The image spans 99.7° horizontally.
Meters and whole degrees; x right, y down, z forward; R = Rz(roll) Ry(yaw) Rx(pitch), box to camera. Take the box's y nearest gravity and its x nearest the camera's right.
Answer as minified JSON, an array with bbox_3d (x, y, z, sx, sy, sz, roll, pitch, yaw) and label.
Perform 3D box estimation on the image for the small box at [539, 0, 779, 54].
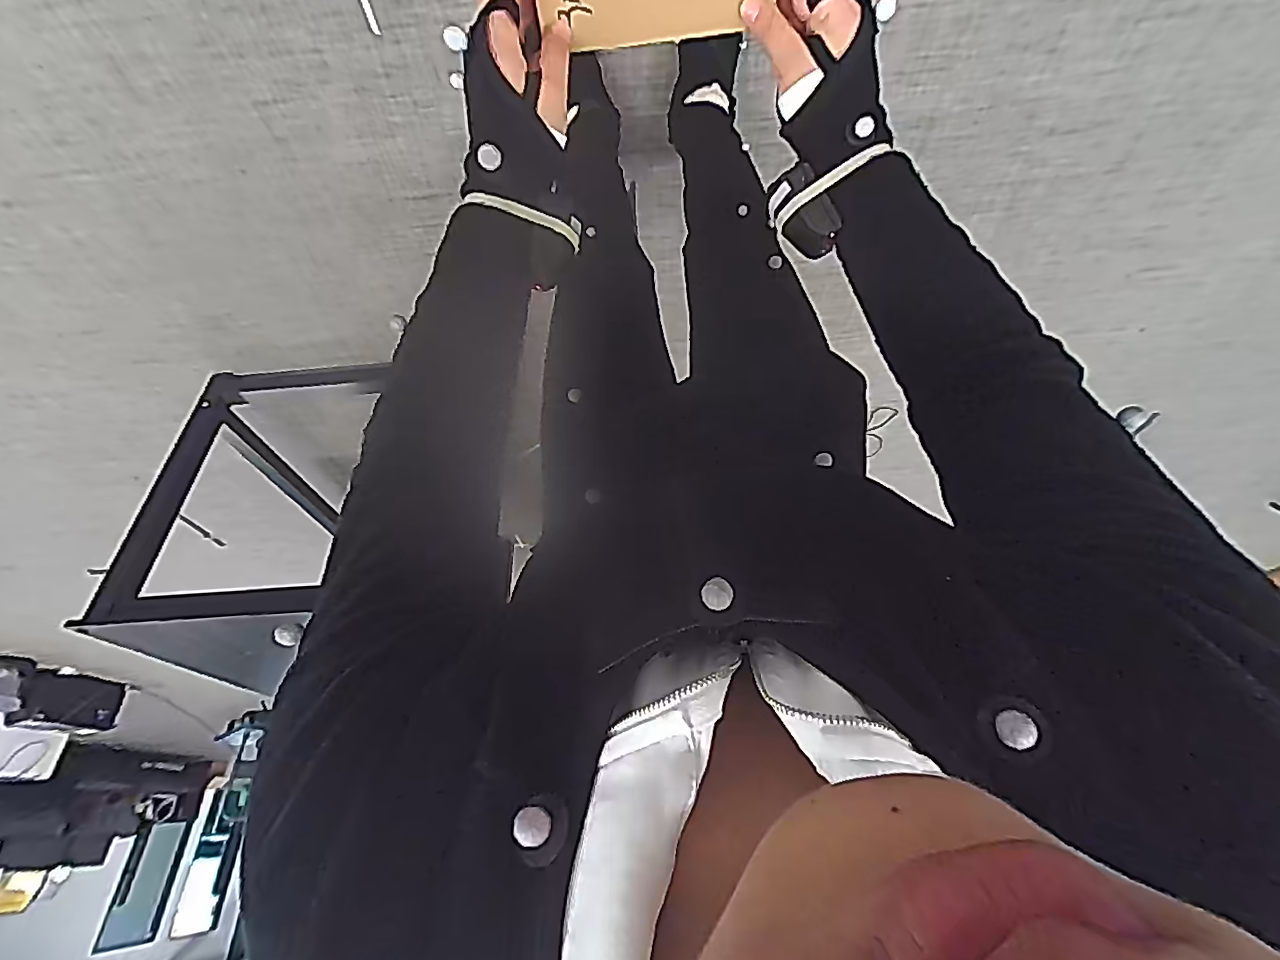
[{"bbox_3d":[0.003,-0.440,0.380,0.179,0.176,0.168,-7,148,0],"label":"small box"}]
